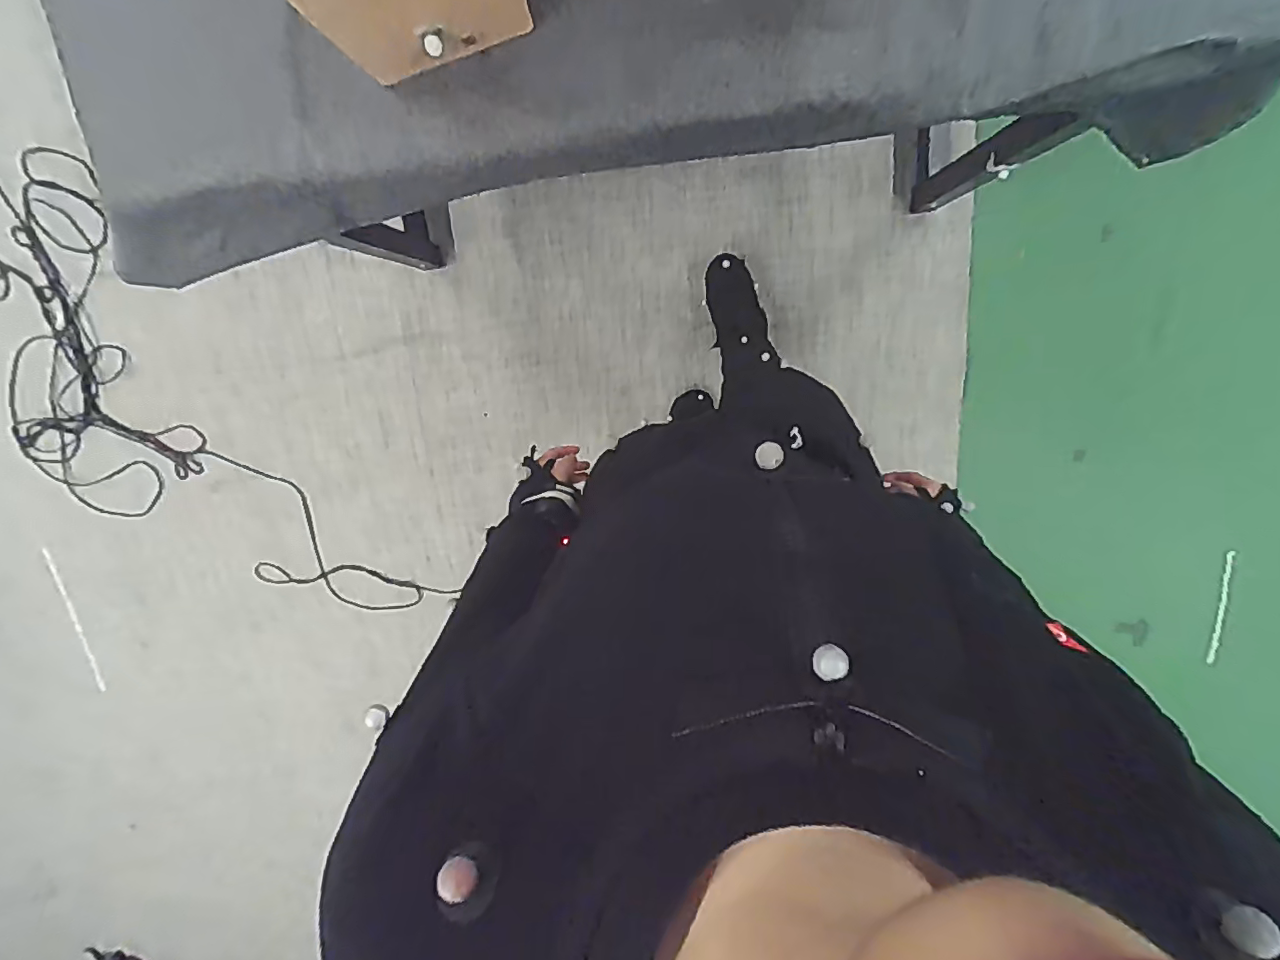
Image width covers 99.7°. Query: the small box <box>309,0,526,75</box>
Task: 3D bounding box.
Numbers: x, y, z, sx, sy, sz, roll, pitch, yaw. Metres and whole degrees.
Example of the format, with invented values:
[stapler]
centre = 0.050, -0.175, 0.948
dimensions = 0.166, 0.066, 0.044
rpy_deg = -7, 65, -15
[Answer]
[small box]
centre = -0.210, -0.479, 0.432
dimensions = 0.168, 0.176, 0.179
rpy_deg = -14, 104, 8
